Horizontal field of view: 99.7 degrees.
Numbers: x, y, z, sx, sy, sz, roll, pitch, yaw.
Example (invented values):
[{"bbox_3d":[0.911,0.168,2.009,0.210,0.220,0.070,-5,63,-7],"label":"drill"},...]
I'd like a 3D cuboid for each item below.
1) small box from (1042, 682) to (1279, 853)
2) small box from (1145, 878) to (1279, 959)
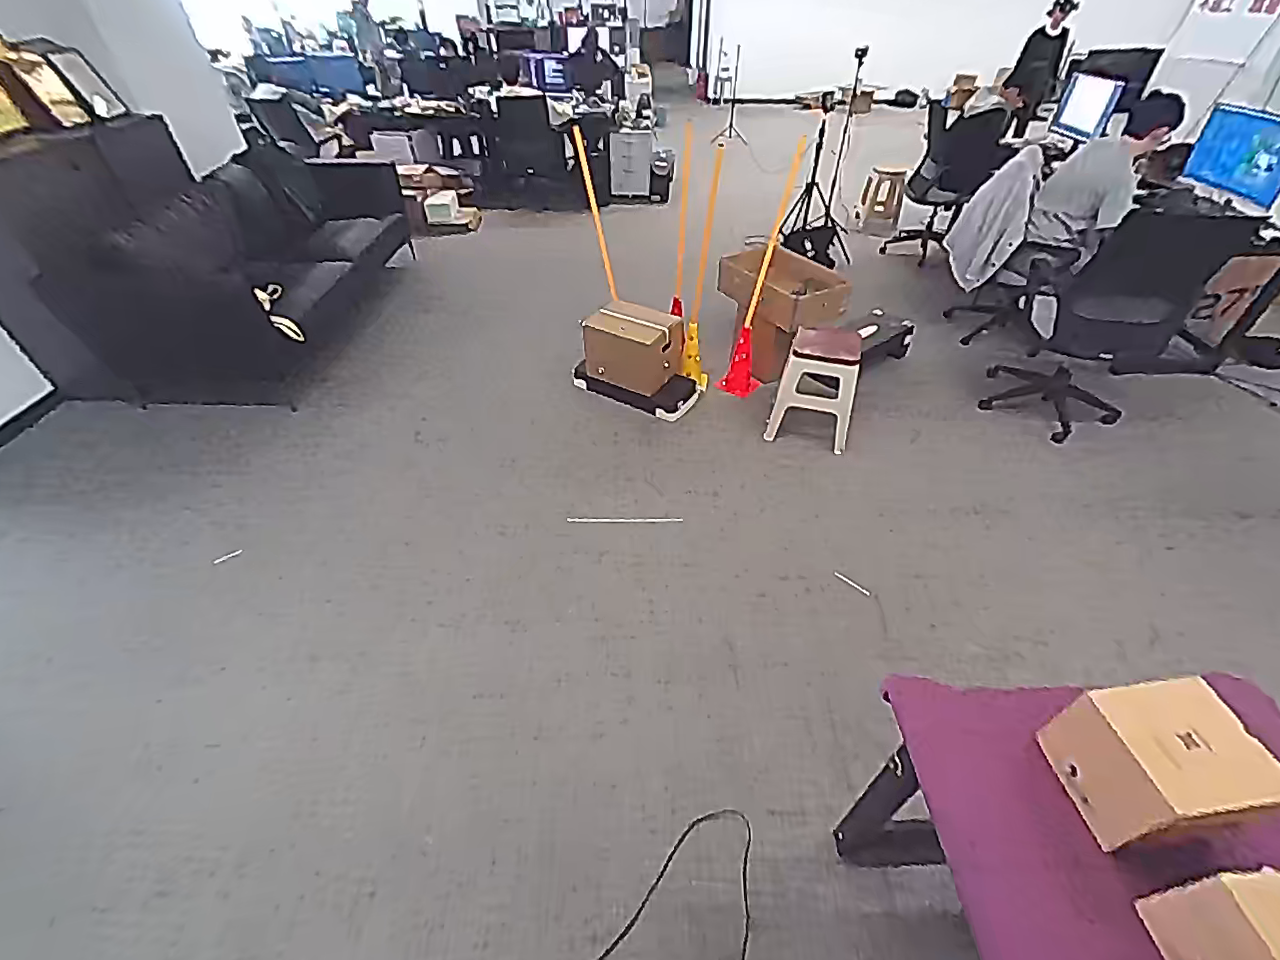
[{"bbox_3d":[0.740,0.412,0.776,0.179,0.176,0.168,-4,42,-3],"label":"small box"},{"bbox_3d":[0.749,0.566,0.608,0.179,0.176,0.168,-2,42,1],"label":"small box"}]
